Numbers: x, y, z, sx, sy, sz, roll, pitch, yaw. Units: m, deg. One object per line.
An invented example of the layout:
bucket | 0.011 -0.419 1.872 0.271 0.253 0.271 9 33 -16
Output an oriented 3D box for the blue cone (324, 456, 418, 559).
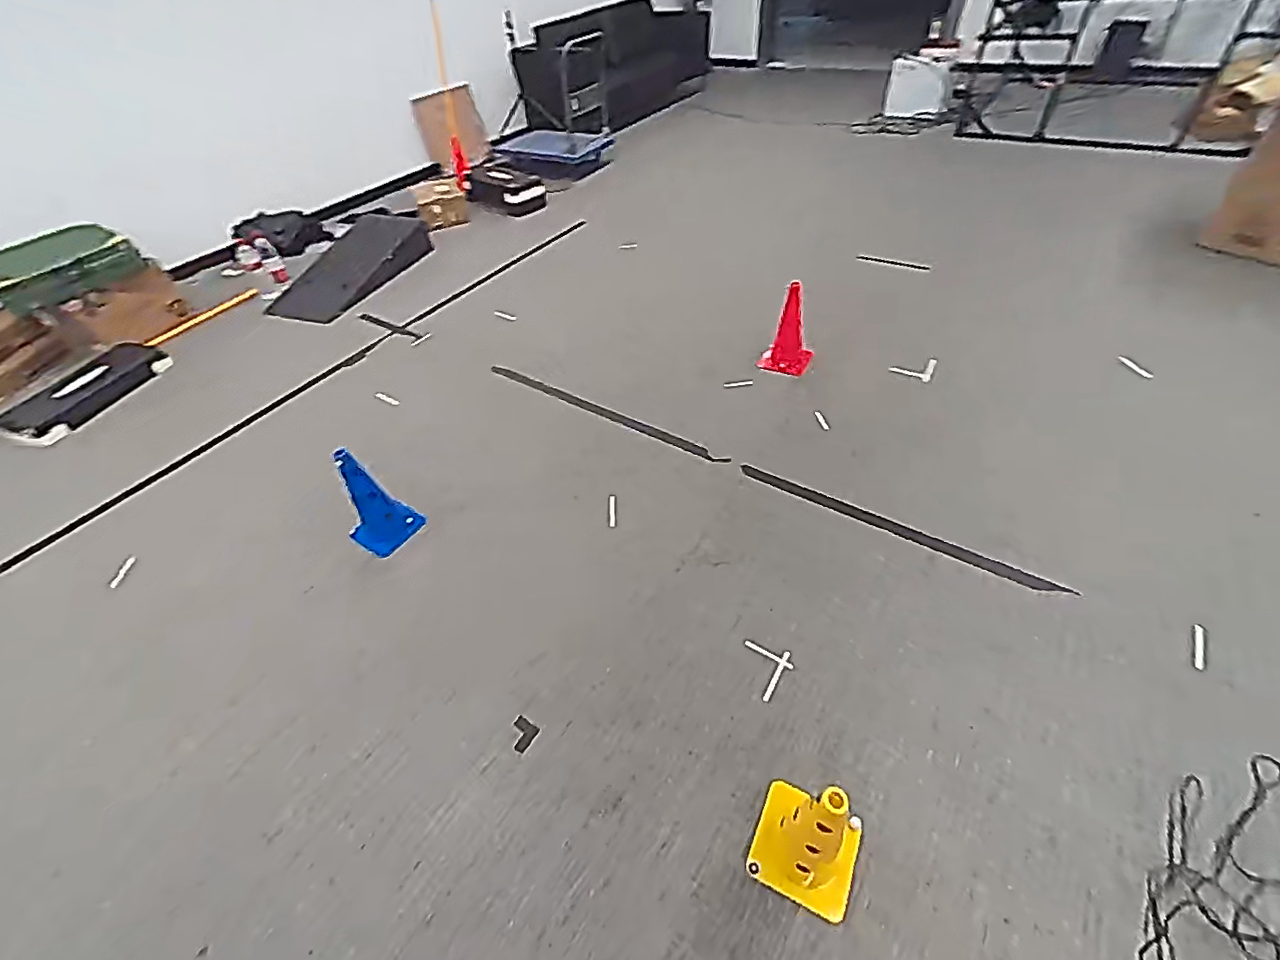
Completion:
blue cone | -0.892 0.062 1.732 0.193 0.380 0.192 24 54 27

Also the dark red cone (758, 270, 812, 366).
dark red cone | 0.621 -0.678 2.242 0.202 0.394 0.201 17 51 22
